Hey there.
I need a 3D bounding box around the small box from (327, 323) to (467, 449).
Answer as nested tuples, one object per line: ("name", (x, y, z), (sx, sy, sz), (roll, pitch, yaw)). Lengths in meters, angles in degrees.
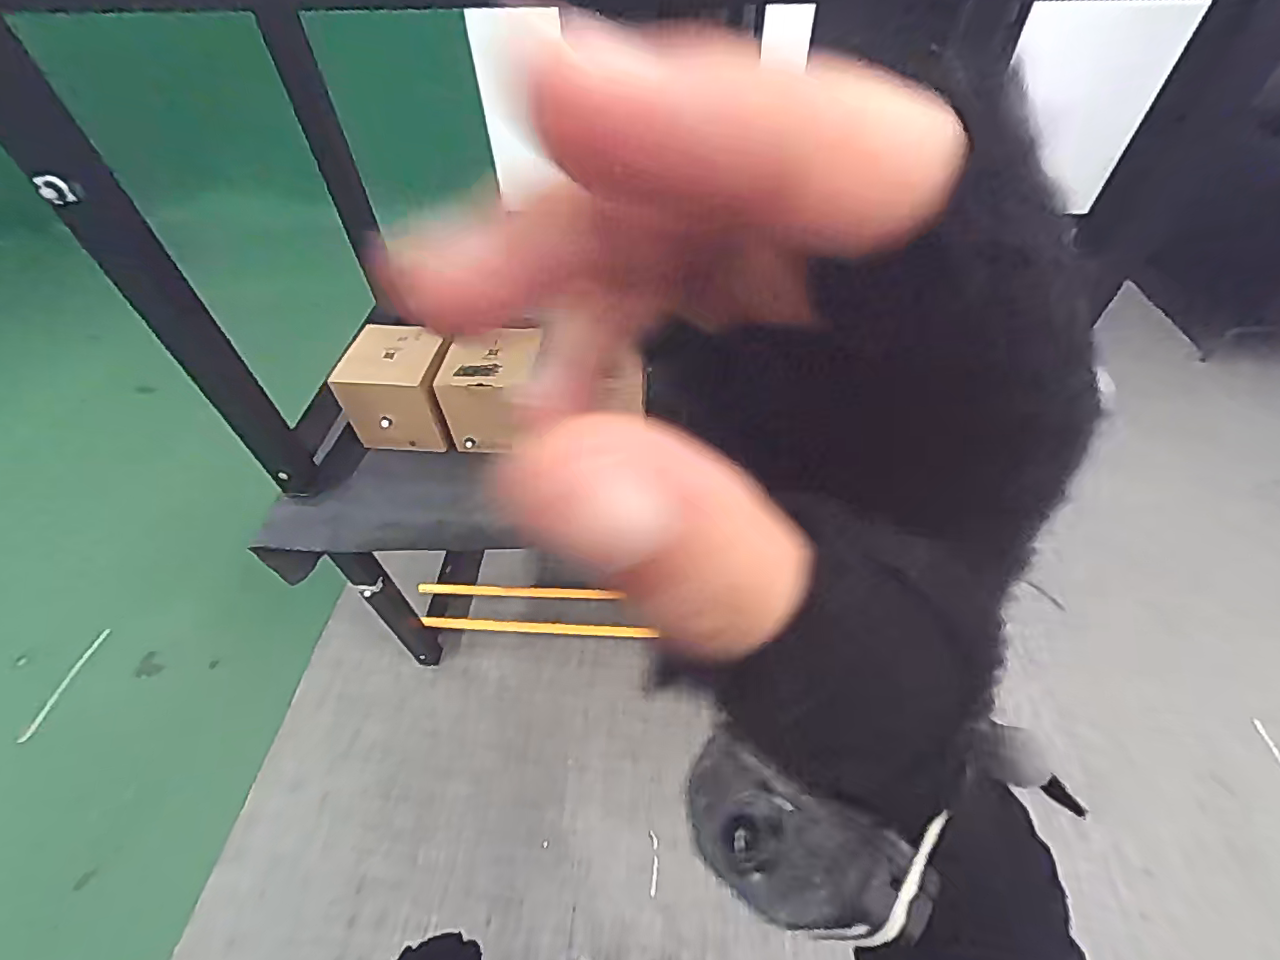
("small box", (-0.448, -0.177, 1.034), (0.168, 0.176, 0.179), (4, 49, 3))
